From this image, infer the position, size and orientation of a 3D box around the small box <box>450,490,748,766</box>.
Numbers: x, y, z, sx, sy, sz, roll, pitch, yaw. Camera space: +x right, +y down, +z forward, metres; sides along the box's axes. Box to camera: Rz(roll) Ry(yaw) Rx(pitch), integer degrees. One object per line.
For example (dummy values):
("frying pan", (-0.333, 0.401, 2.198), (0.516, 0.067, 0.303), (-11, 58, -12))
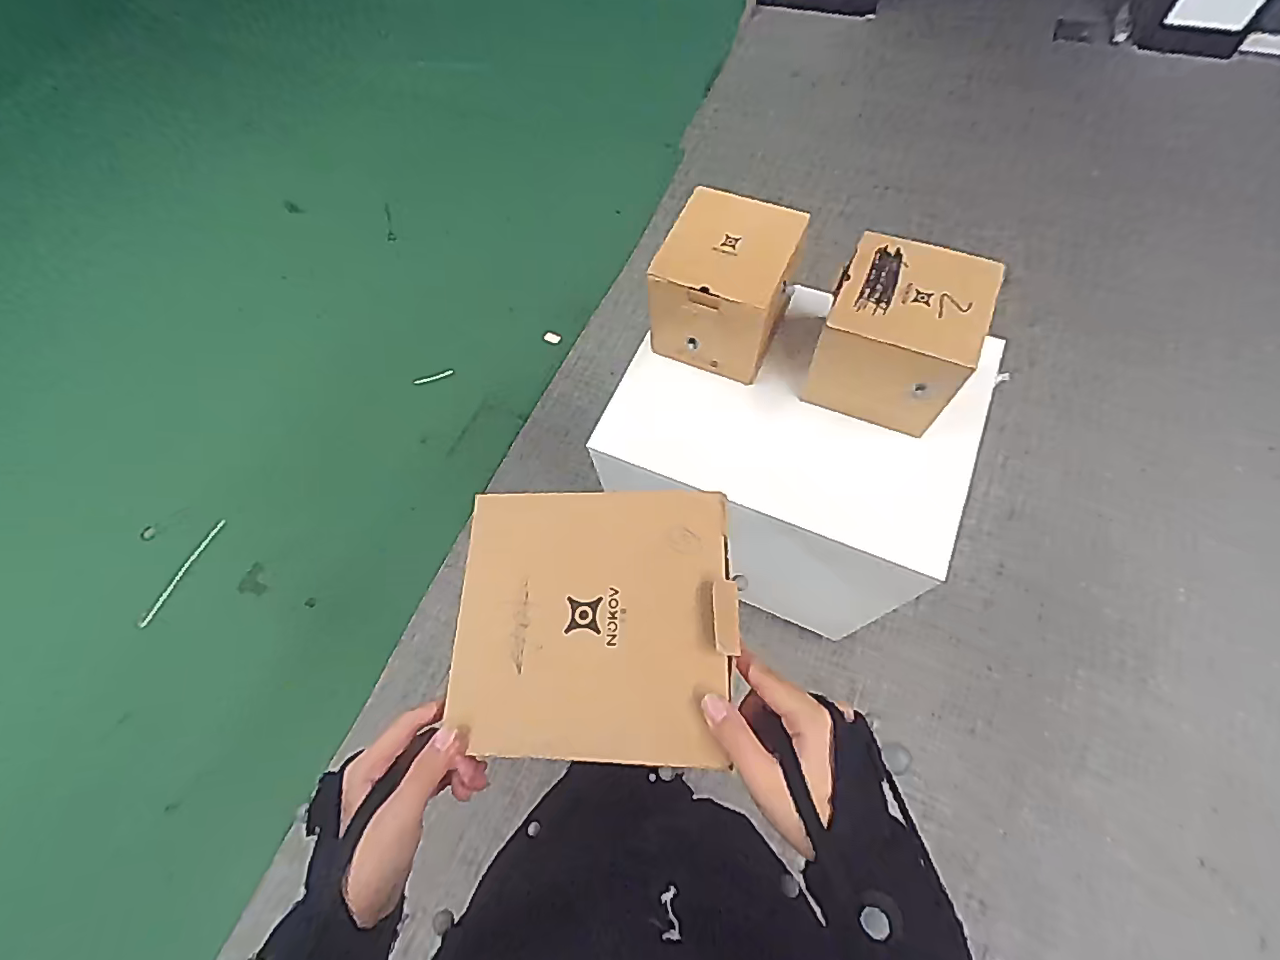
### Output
("small box", (-0.014, 0.113, 0.411), (0.179, 0.176, 0.168), (-2, 66, 8))

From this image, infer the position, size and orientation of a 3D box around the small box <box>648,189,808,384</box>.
("small box", (0.122, -0.274, 0.785), (0.168, 0.176, 0.179), (22, 70, 13))
